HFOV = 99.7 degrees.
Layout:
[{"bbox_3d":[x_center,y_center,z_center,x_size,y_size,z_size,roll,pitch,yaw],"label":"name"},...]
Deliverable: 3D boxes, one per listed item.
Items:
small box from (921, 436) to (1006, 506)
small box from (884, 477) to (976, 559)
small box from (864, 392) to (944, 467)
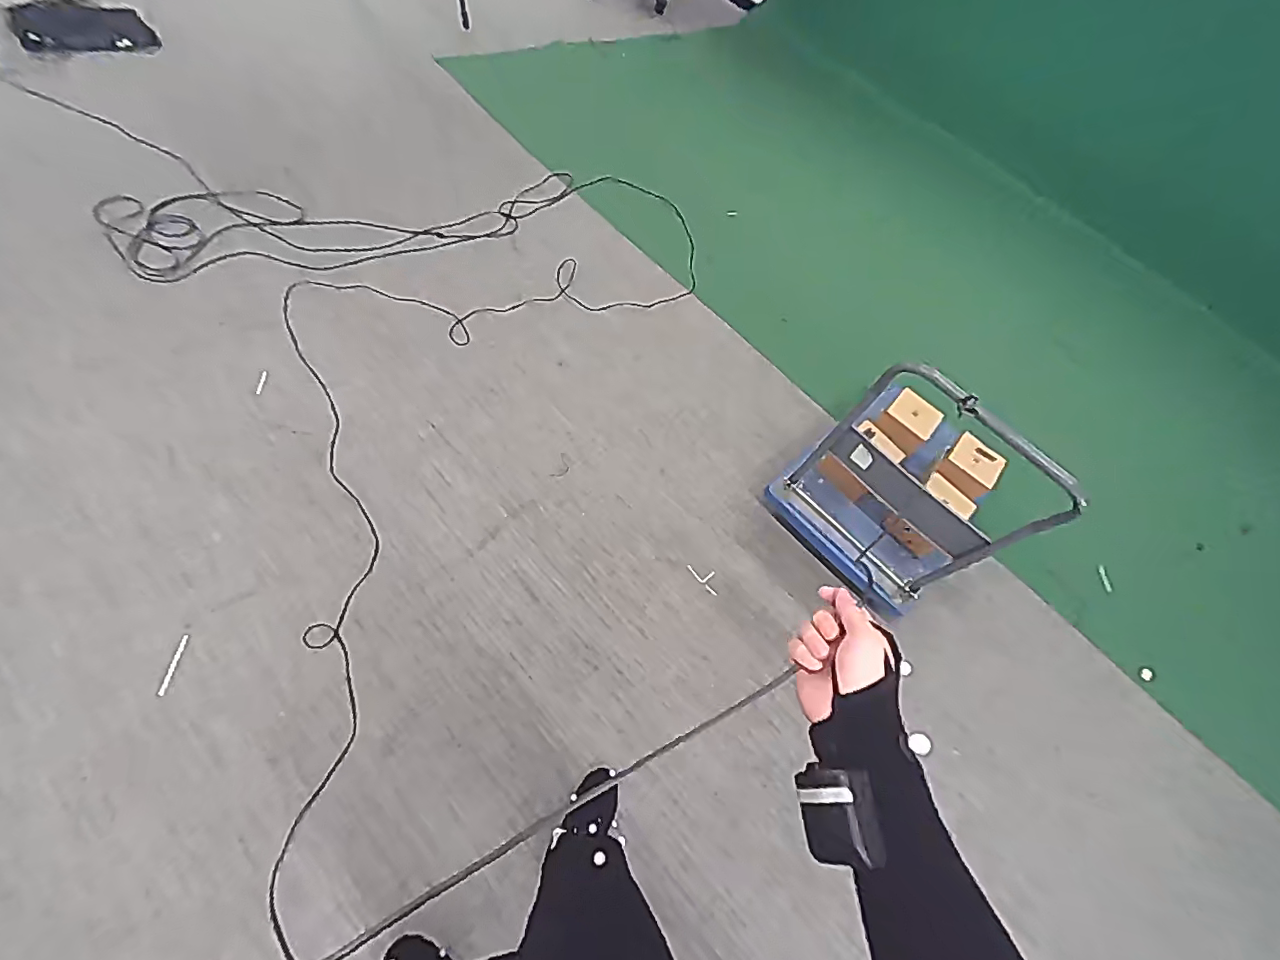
[{"bbox_3d":[1.125,-0.014,1.894,0.168,0.176,0.179,42,59,13],"label":"small box"},{"bbox_3d":[0.936,0.126,1.760,0.179,0.176,0.168,-36,74,-29],"label":"small box"},{"bbox_3d":[0.941,-0.177,1.946,0.168,0.176,0.179,42,58,11],"label":"small box"}]
